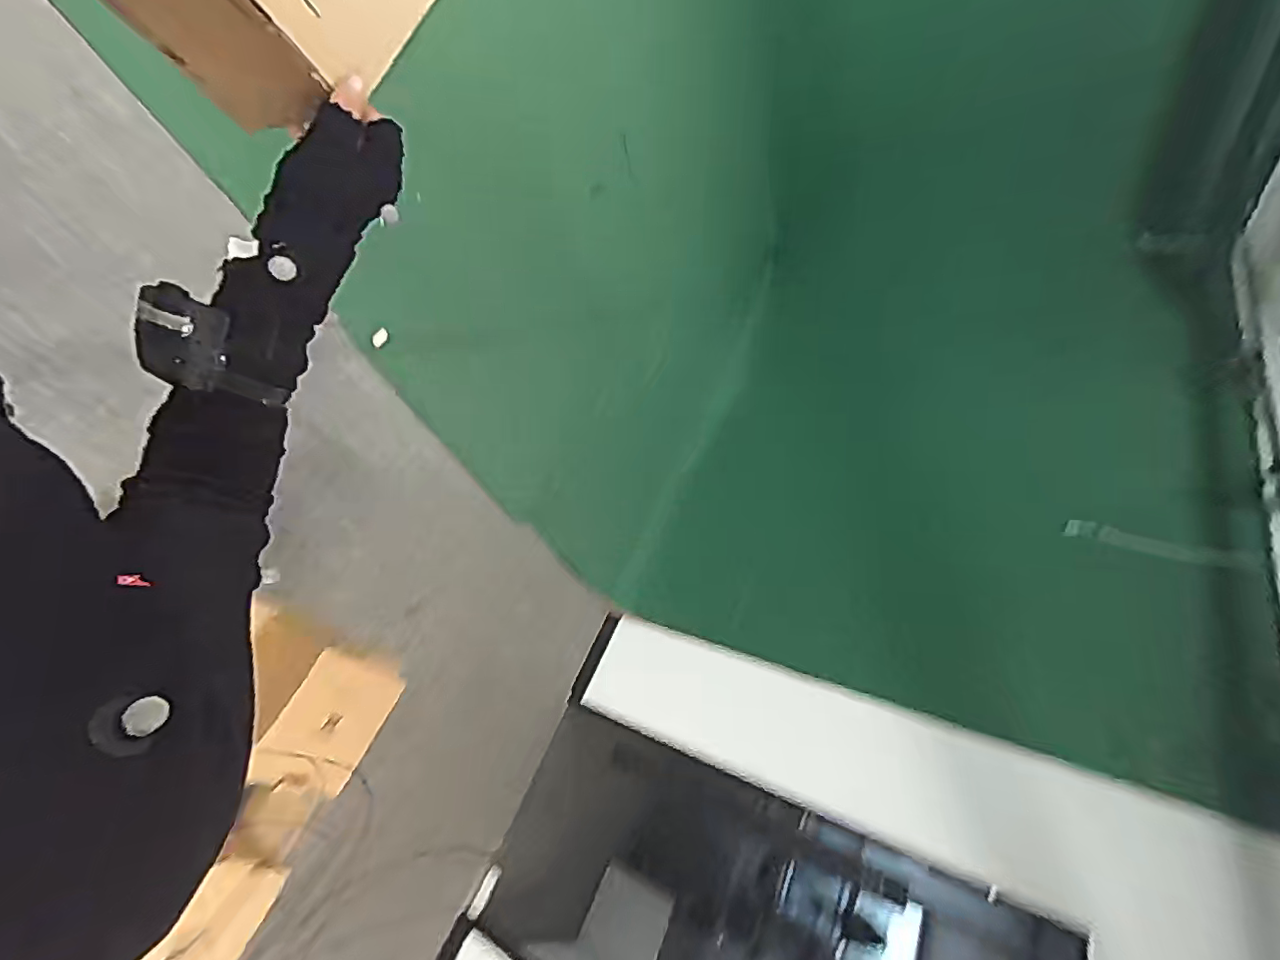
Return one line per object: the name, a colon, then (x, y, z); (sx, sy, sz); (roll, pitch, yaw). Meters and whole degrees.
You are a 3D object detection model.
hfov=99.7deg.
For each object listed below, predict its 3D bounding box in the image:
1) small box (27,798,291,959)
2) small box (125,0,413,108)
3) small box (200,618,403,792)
small box: (-0.614, 0.543, 0.697); (0.179, 0.176, 0.168); (-63, 142, -28)
small box: (-0.267, -0.388, 0.361); (0.168, 0.176, 0.179); (41, 69, -58)
small box: (-0.510, 0.333, 0.815); (0.168, 0.176, 0.179); (56, 50, -47)
